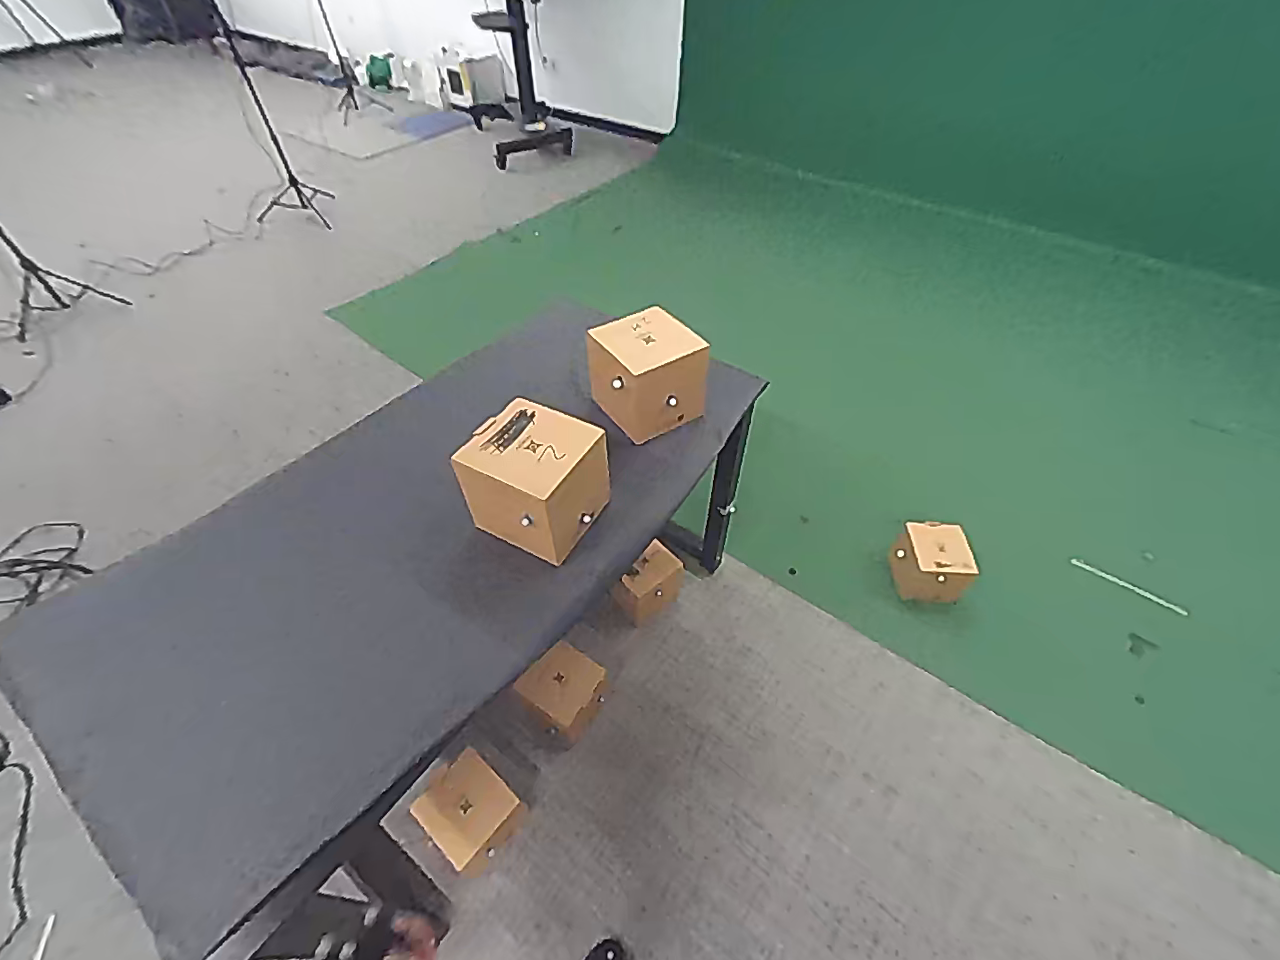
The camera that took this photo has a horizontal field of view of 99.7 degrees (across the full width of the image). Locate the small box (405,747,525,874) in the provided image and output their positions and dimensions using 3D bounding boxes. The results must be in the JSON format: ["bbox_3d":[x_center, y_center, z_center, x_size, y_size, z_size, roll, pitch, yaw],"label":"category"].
[{"bbox_3d":[-0.377,0.736,1.200,0.179,0.176,0.168,33,56,25],"label":"small box"}]

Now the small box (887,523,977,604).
[{"bbox_3d":[0.875,0.254,1.642,0.168,0.176,0.179,4,48,2],"label":"small box"}]

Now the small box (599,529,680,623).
[{"bbox_3d":[-0.001,0.286,1.593,0.179,0.176,0.168,-32,57,-27],"label":"small box"}]

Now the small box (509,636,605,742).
[{"bbox_3d":[-0.200,0.536,1.373,0.179,0.176,0.168,26,53,21],"label":"small box"}]

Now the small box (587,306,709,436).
[{"bbox_3d":[0.014,-0.205,1.052,0.168,0.176,0.179,-26,52,-22],"label":"small box"}]
